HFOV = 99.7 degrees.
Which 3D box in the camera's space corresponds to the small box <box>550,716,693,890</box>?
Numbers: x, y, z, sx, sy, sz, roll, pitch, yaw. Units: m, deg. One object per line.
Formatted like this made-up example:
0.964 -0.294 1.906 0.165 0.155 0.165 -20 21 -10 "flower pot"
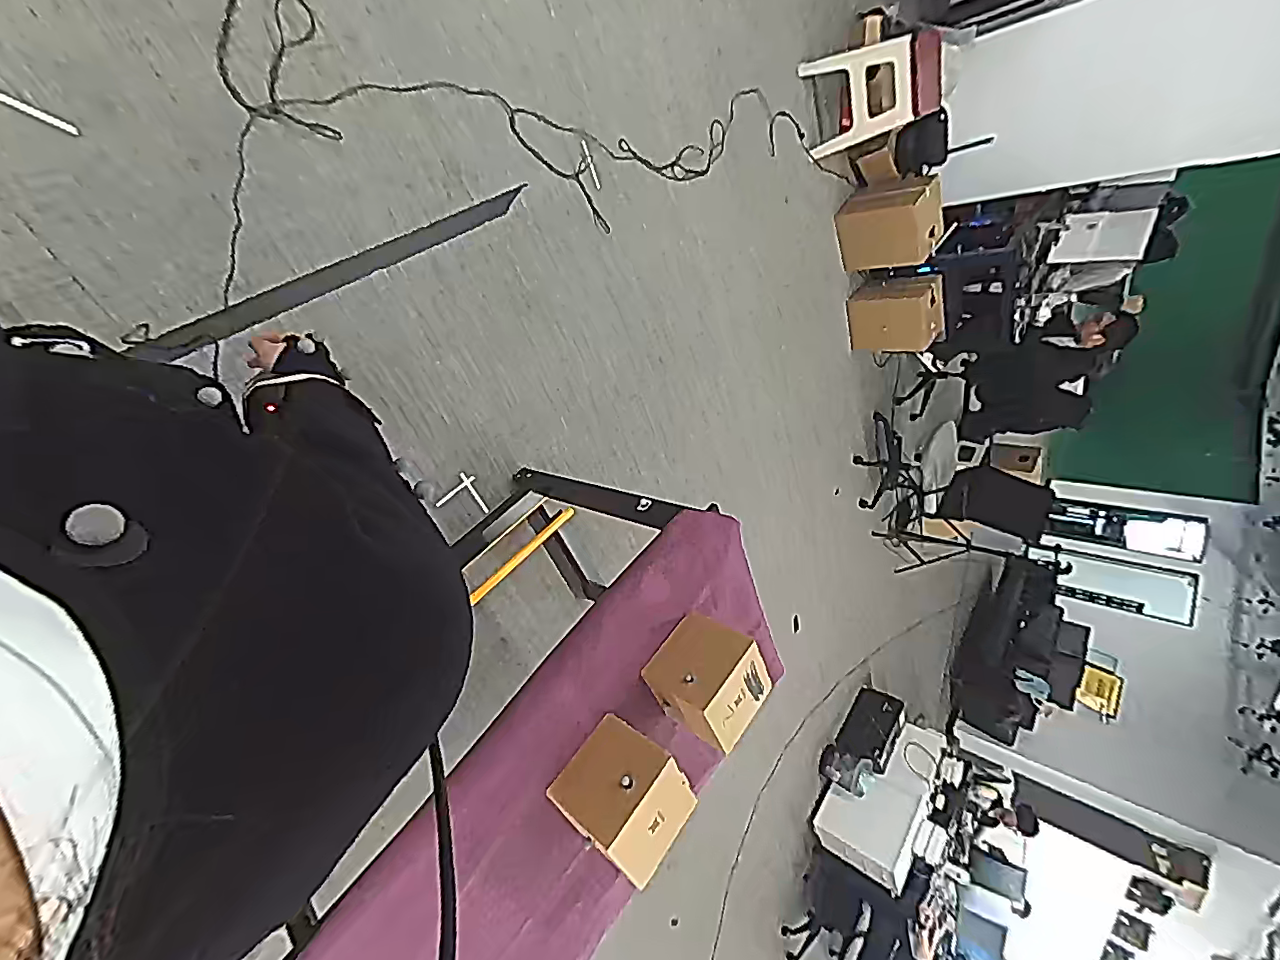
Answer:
-0.038 0.570 0.972 0.179 0.176 0.168 -45 128 -31 "small box"
